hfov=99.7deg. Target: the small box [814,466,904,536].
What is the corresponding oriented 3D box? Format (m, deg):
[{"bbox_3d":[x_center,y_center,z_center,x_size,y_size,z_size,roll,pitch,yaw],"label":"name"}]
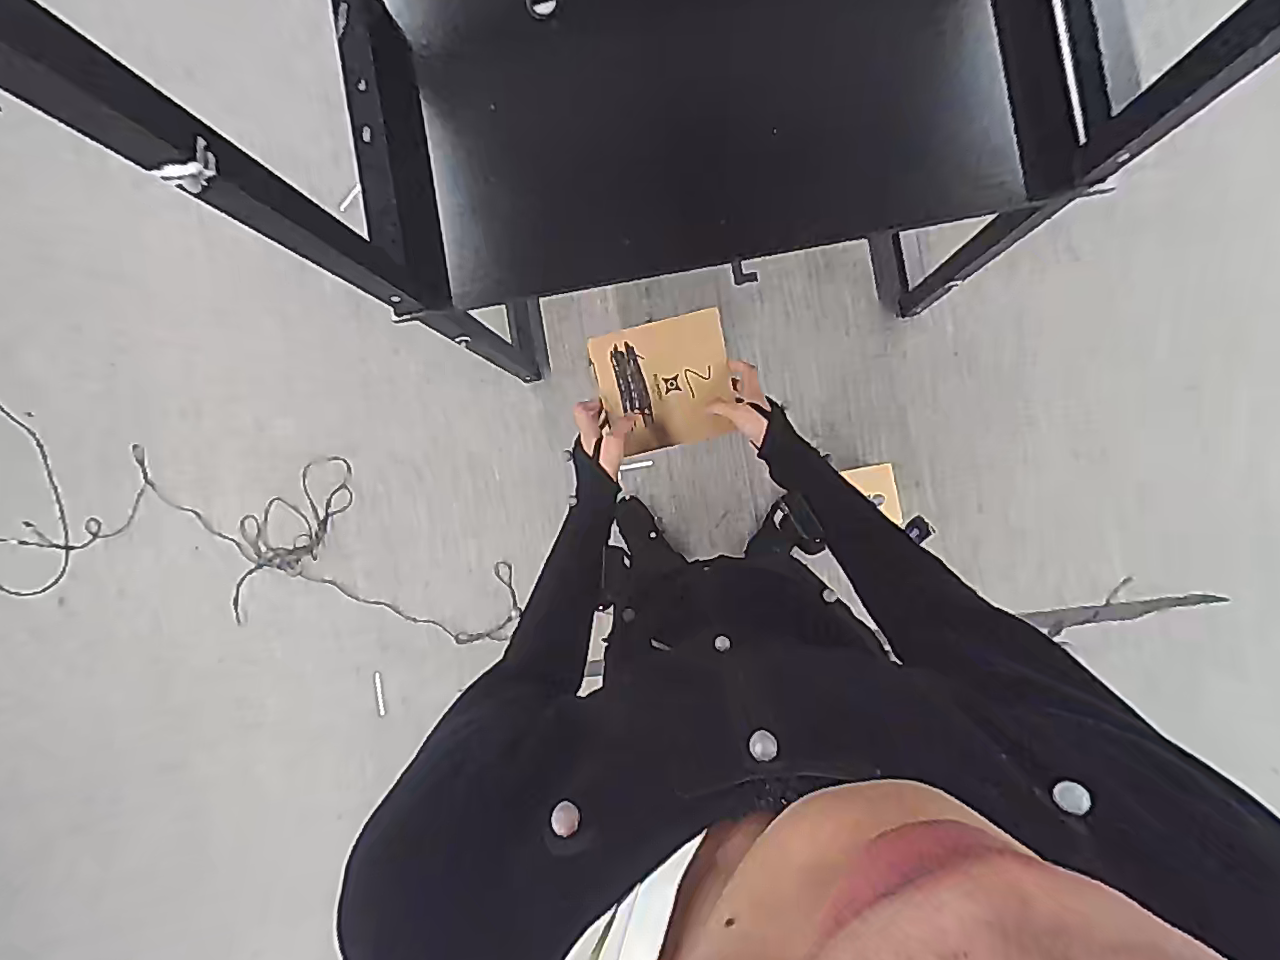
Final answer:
[{"bbox_3d":[0.604,0.054,1.505,0.179,0.176,0.168,-11,89,6],"label":"small box"}]
